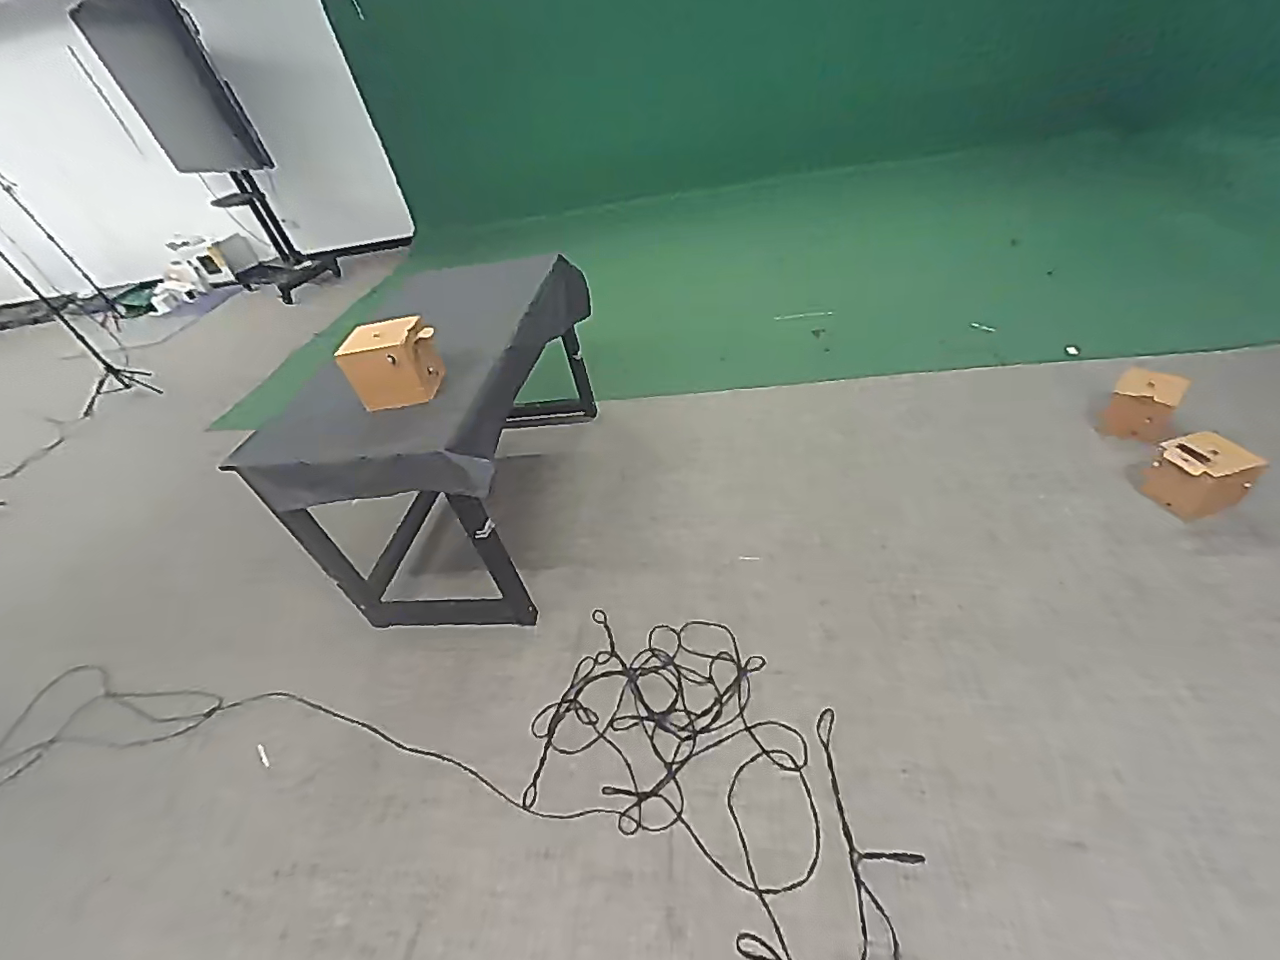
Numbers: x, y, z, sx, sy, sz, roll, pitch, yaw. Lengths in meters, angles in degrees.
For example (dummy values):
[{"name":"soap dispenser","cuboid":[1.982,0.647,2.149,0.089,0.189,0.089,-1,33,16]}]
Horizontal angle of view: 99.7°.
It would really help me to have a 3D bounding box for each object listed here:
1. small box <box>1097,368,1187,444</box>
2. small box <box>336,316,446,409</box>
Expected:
[{"name":"small box","cuboid":[1.693,-0.249,1.831,0.168,0.176,0.179,27,53,36]},{"name":"small box","cuboid":[-0.633,-0.300,1.398,0.179,0.176,0.168,-9,40,5]}]
